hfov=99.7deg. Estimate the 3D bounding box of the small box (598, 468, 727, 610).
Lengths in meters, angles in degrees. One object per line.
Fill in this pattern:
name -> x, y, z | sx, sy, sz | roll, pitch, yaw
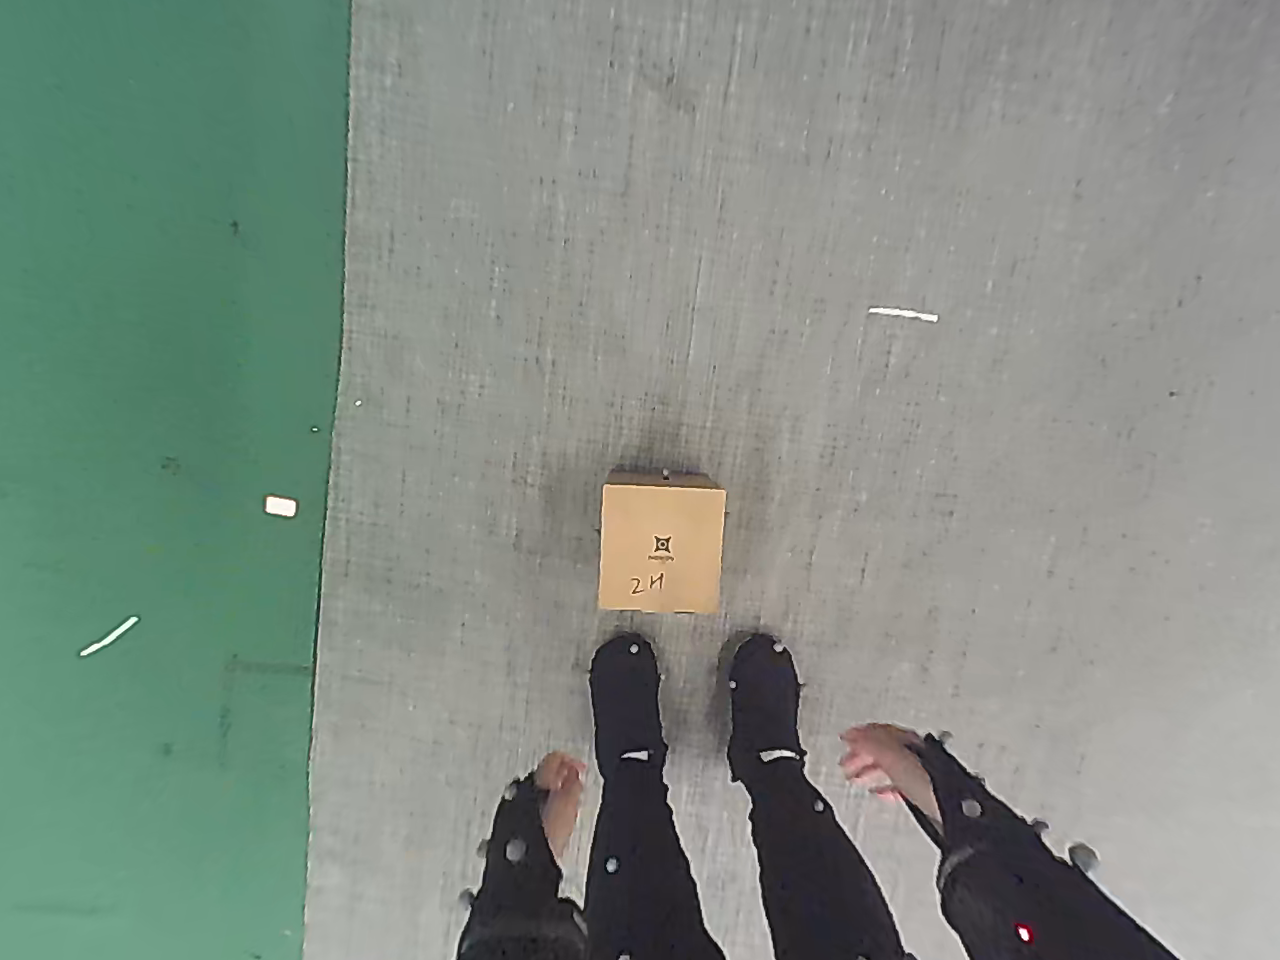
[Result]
small box -> 0.028, 0.077, 0.800 | 0.168, 0.176, 0.179 | 3, 97, -1
